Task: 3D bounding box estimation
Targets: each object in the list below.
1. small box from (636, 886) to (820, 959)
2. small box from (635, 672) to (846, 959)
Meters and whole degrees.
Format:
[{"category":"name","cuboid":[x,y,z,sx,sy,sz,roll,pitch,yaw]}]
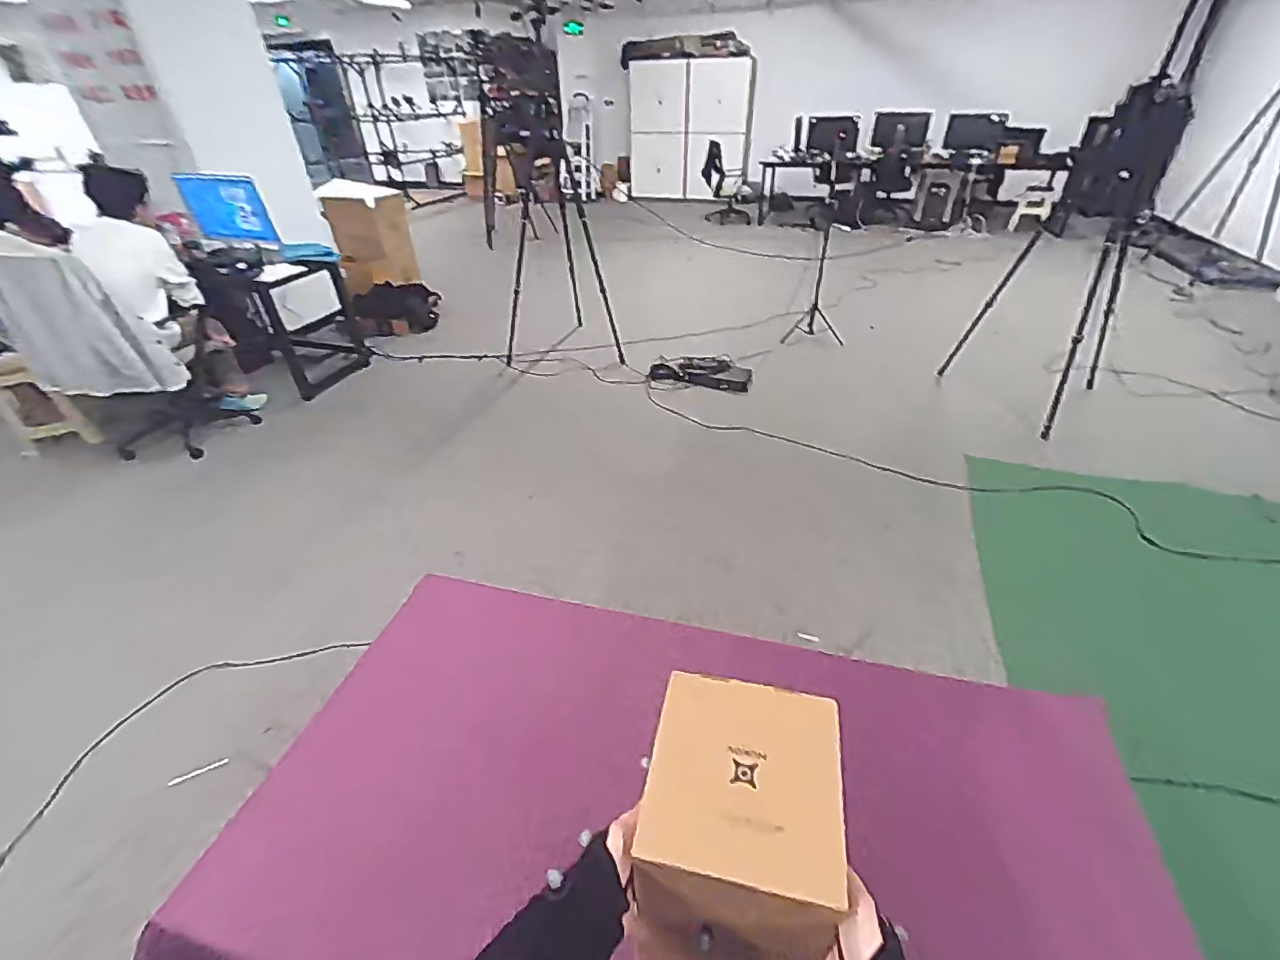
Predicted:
[{"category":"small box","cuboid":[0.102,0.458,0.618,0.179,0.176,0.168,8,36,14]},{"category":"small box","cuboid":[0.097,0.324,0.525,0.168,0.176,0.179,6,37,13]}]
